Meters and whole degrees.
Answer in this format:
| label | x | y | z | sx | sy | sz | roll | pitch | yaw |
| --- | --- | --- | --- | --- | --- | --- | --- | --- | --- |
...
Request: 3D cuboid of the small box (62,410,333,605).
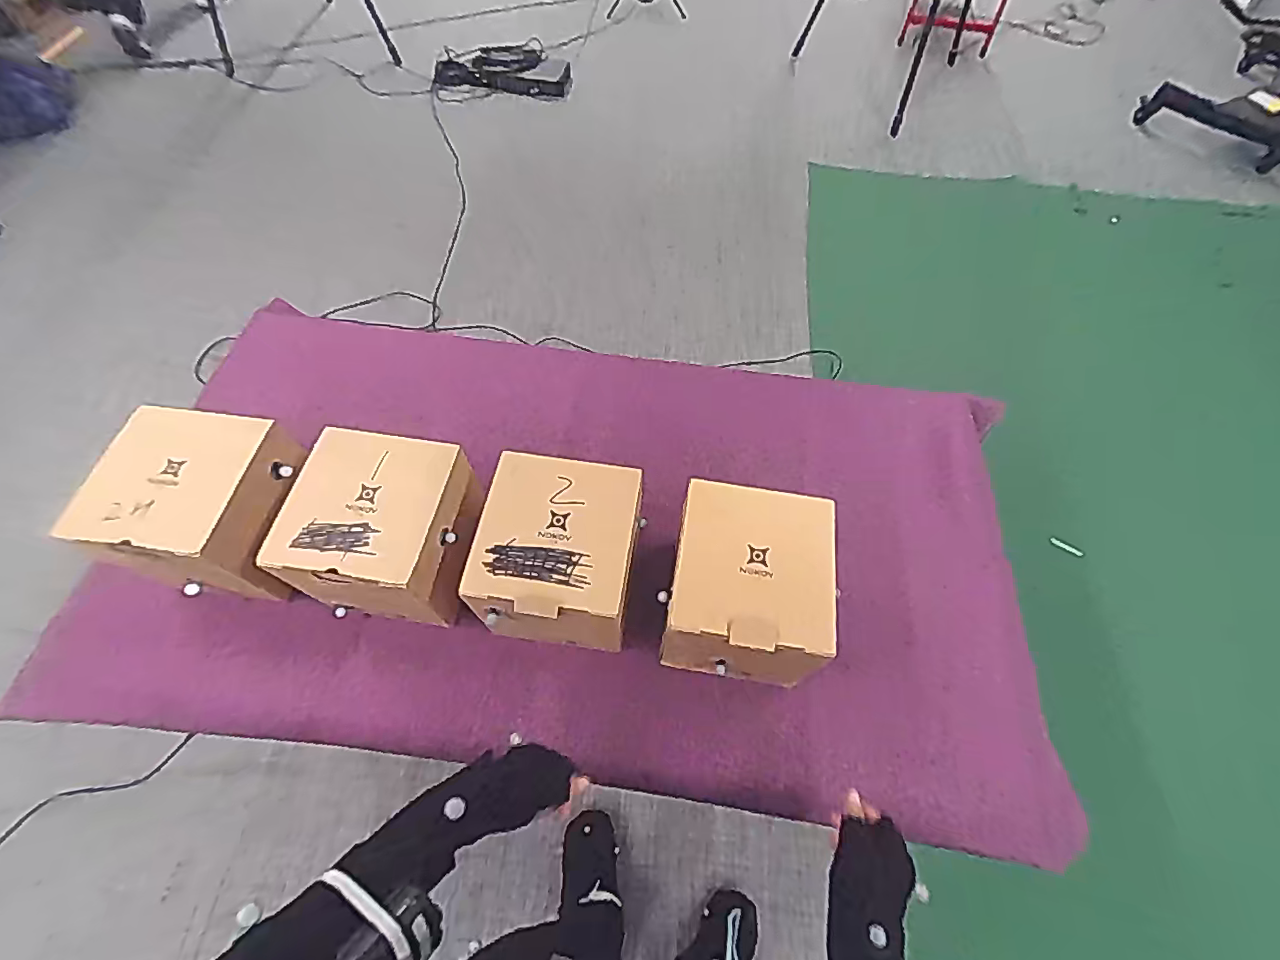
| label | x | y | z | sx | sy | sz | roll | pitch | yaw |
| --- | --- | --- | --- | --- | --- | --- | --- | --- | --- |
| small box | -0.522 | 0.039 | 0.677 | 0.168 | 0.176 | 0.179 | 7 | 61 | 3 |
